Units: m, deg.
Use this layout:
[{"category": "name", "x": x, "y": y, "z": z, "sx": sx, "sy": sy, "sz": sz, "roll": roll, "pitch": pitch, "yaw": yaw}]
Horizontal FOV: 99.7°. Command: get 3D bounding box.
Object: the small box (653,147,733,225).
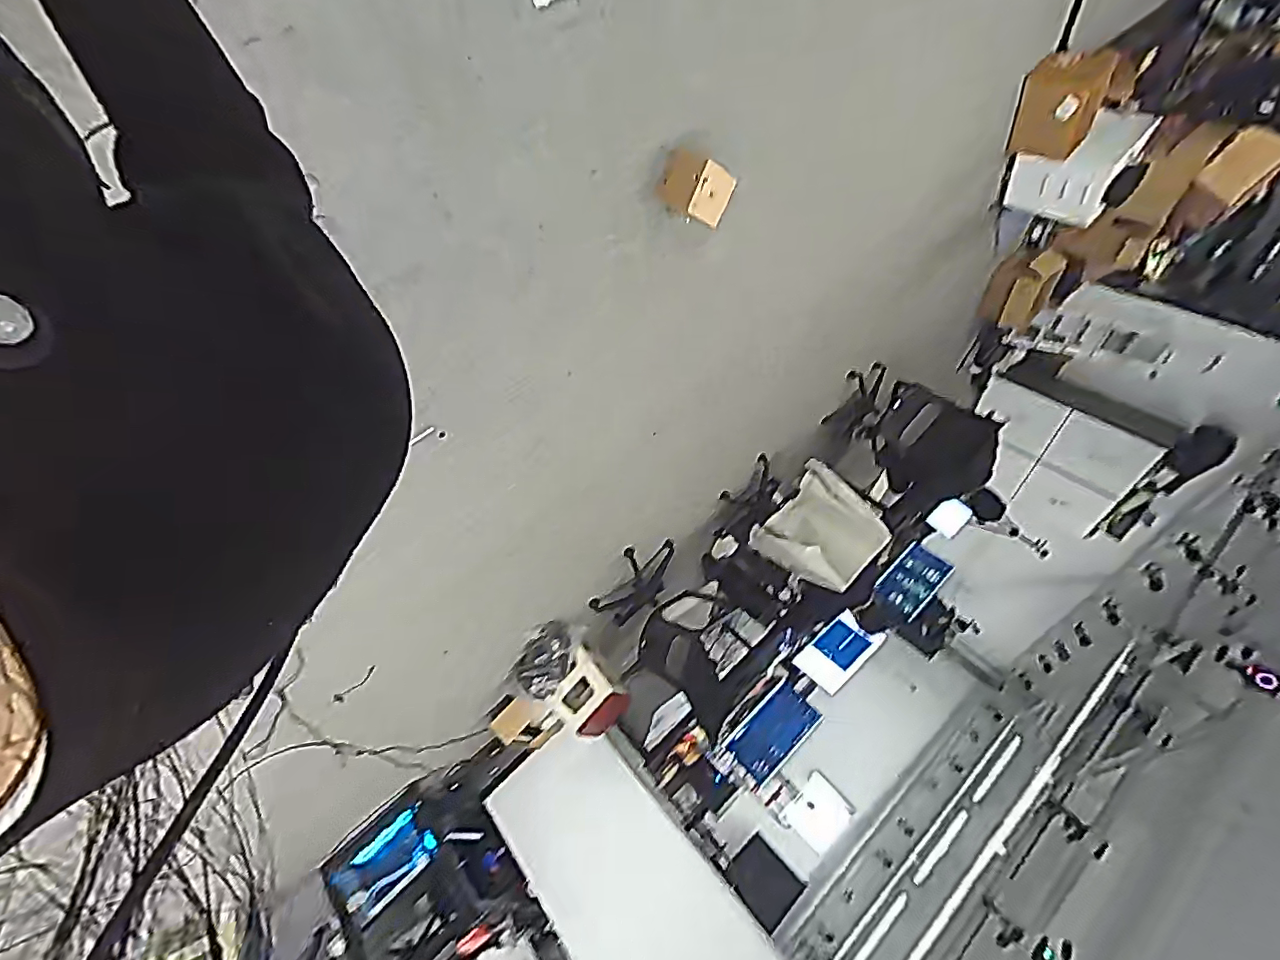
[{"category": "small box", "x": 0.180, "y": -1.009, "z": 1.852, "sx": 0.179, "sy": 0.176, "sz": 0.168, "roll": -2, "pitch": 125, "yaw": -50}]
